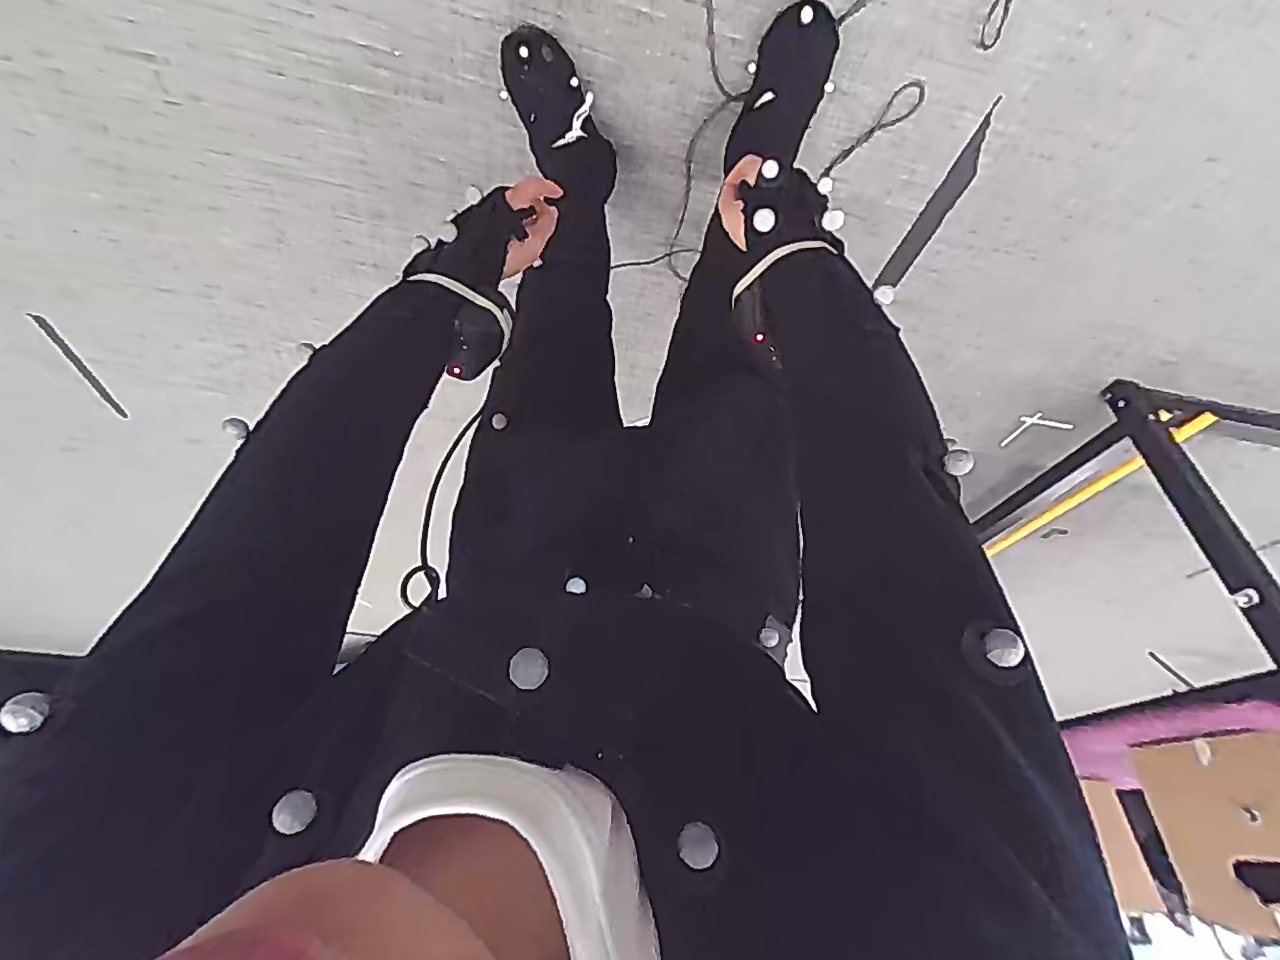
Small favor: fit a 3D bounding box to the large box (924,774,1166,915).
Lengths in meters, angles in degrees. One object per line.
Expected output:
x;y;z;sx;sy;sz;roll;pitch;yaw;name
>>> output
1.125;1.049;1.560;0.408;0.320;0.320;8;145;-9;large box
